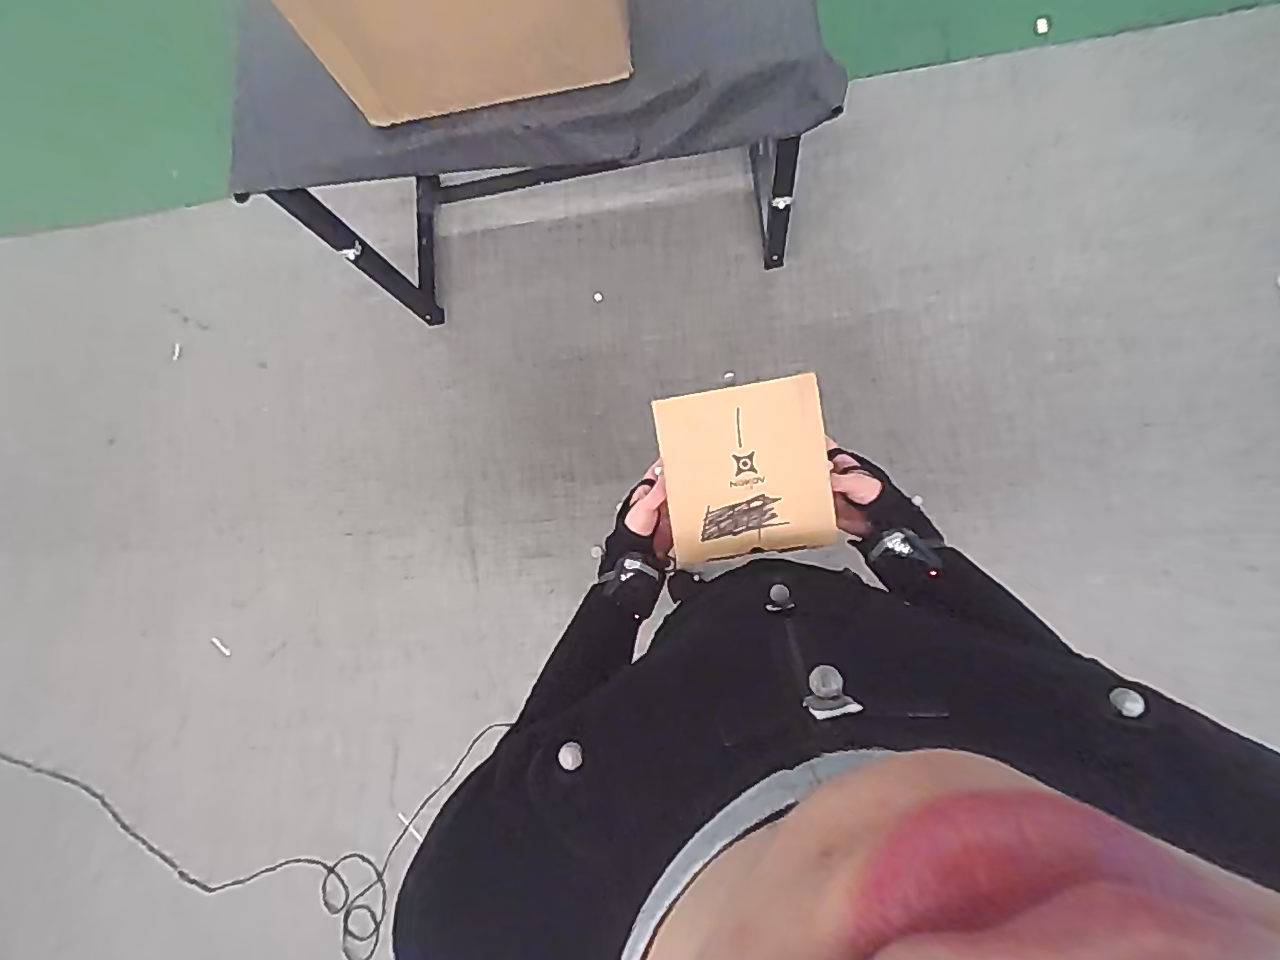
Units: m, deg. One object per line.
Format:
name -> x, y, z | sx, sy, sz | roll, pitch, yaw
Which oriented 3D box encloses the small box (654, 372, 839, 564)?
small box -> 0.116, -0.020, 0.623 | 0.168, 0.176, 0.179 | -10, 96, 7
